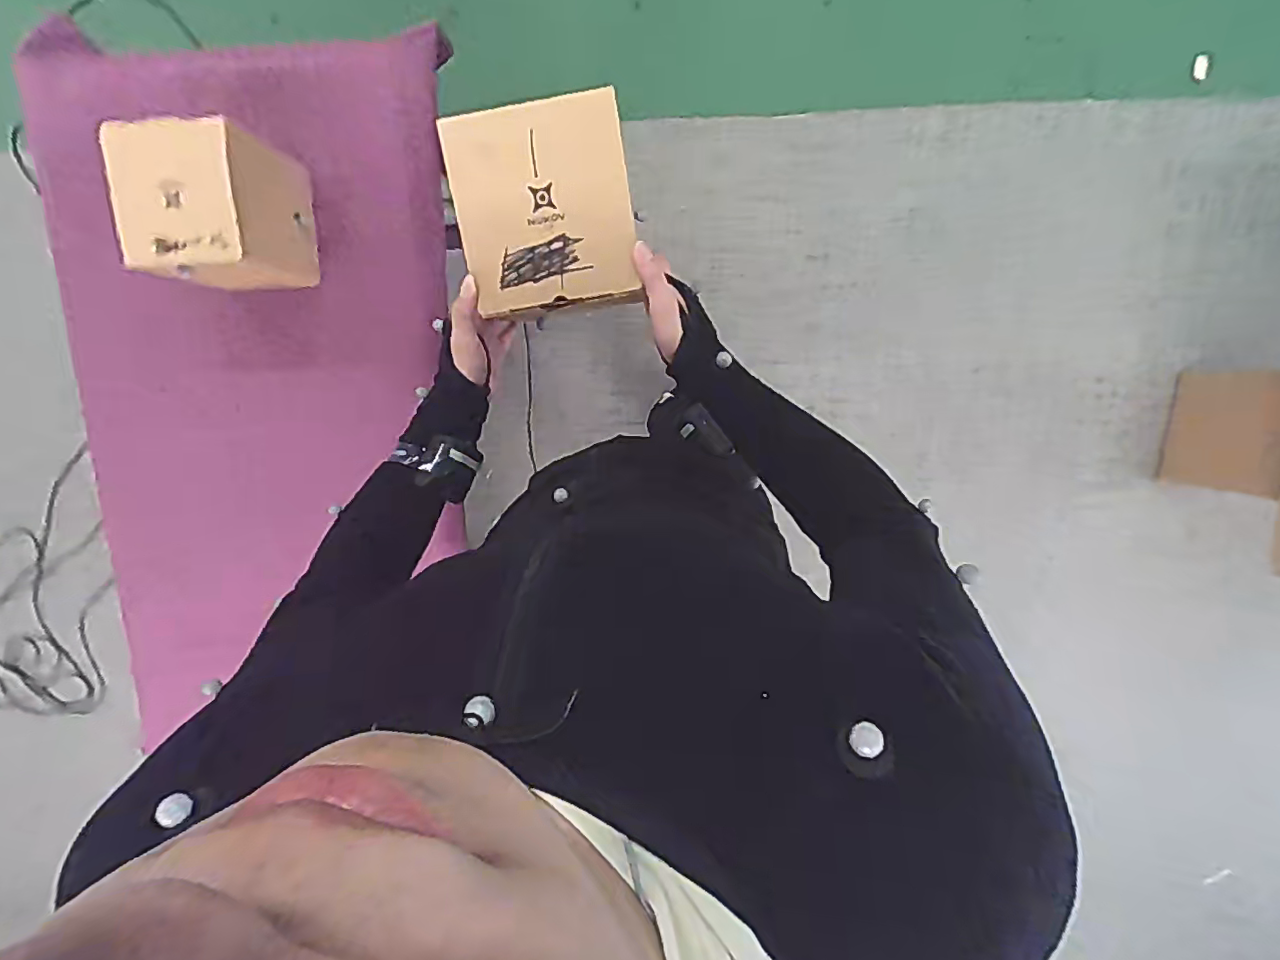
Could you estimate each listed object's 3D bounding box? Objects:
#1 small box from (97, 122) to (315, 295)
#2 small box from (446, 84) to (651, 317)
[{"bbox_3d":[-0.598,-0.372,0.769,0.168,0.176,0.179,-1,99,3],"label":"small box"},{"bbox_3d":[-0.079,-0.273,0.573,0.168,0.176,0.179,-8,104,3],"label":"small box"}]
